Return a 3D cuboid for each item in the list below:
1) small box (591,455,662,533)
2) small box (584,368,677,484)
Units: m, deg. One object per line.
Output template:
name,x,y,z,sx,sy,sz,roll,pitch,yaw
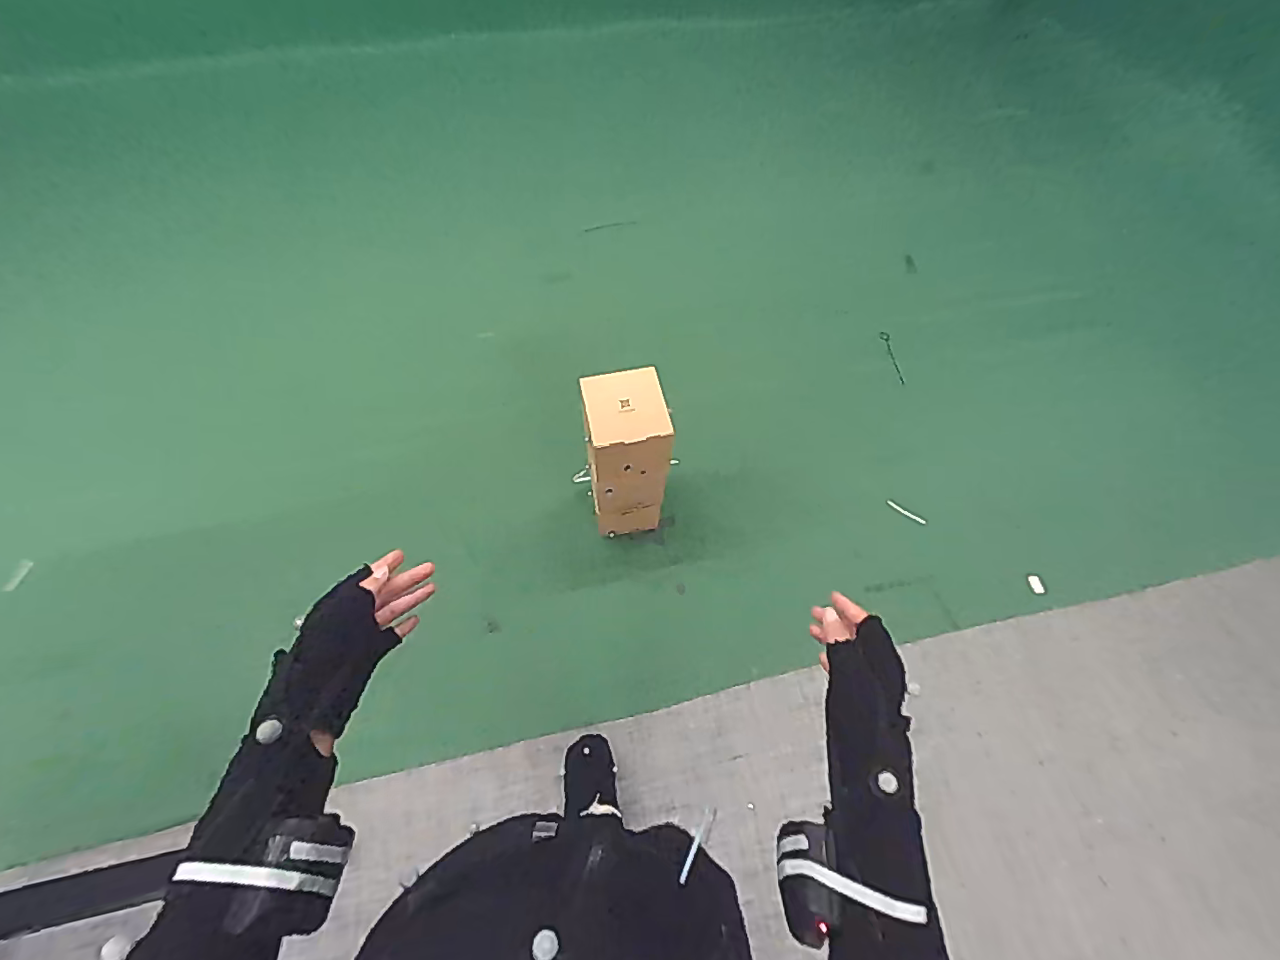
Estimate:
small box,-0.038,0.034,1.475,0.168,0.176,0.179,-9,64,-6
small box,-0.027,-0.115,1.183,0.168,0.176,0.179,-11,64,-7
